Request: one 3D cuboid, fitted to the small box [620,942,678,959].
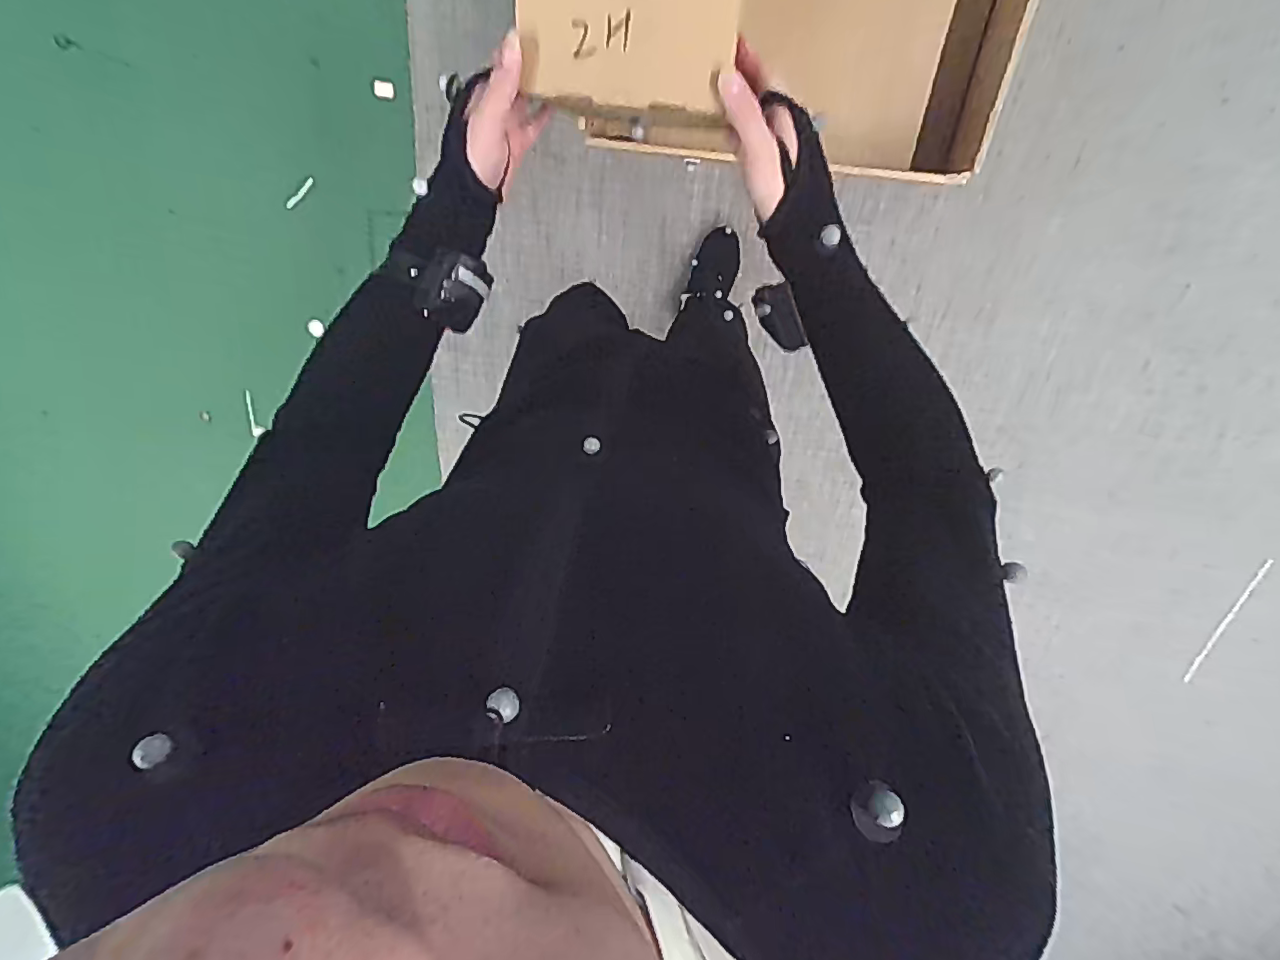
[{"bbox_3d":[0.016,1.434,1.505,0.168,0.176,0.179,7,117,5],"label":"small box"}]

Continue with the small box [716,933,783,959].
[{"bbox_3d":[0.288,1.350,1.424,0.168,0.176,0.179,8,116,5],"label":"small box"}]

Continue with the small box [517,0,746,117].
[{"bbox_3d":[0.006,-0.417,0.439,0.168,0.176,0.179,9,119,4],"label":"small box"}]
